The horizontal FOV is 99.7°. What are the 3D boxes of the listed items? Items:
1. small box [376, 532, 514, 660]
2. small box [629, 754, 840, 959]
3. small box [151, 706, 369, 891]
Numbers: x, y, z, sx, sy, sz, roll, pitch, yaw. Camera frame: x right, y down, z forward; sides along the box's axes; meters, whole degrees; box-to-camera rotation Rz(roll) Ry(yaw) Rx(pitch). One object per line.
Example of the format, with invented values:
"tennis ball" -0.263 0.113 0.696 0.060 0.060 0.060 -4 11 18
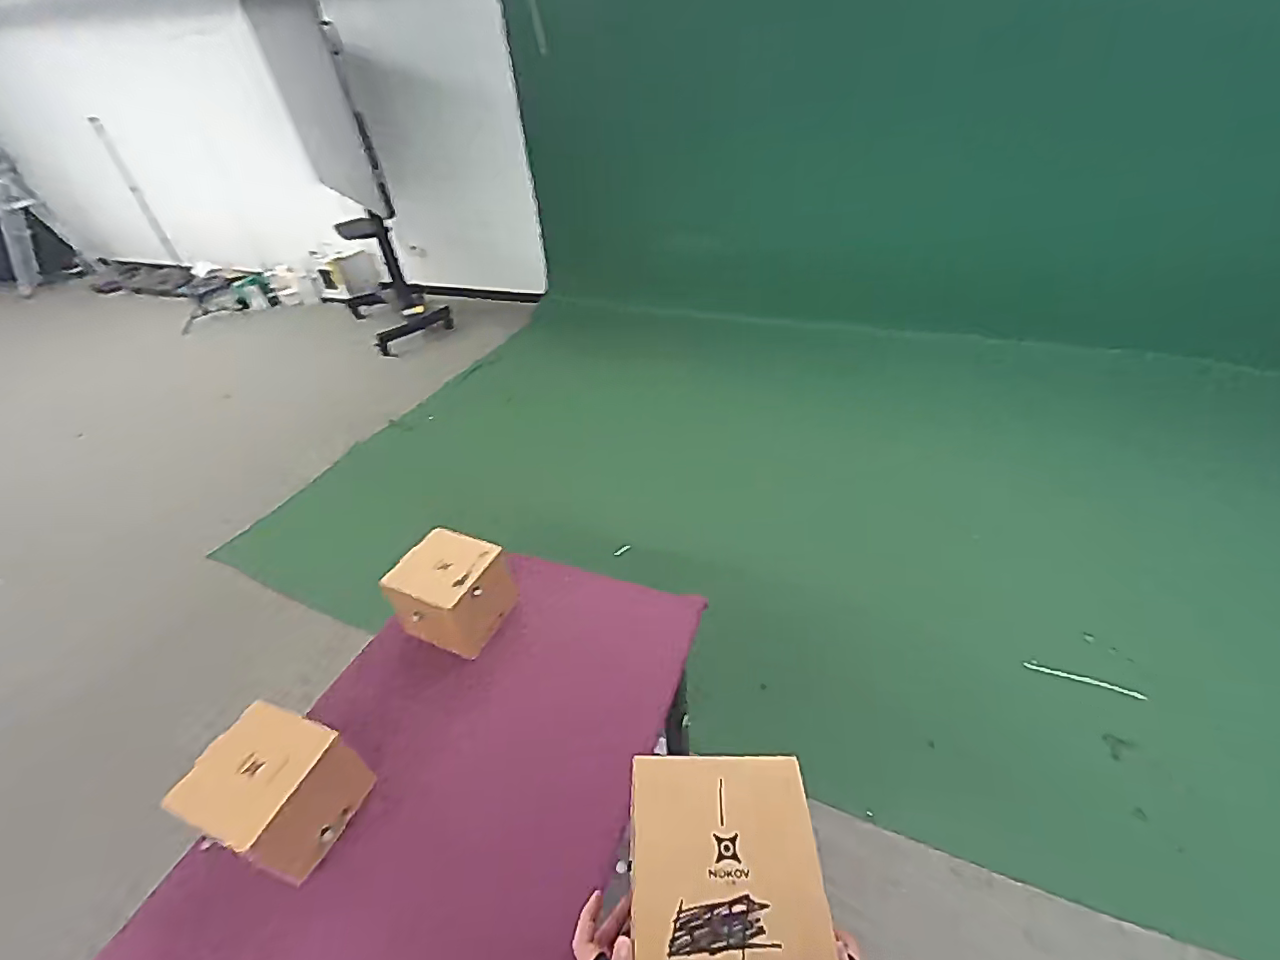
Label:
"small box" -0.387 0.237 1.101 0.179 0.176 0.168 12 43 22
"small box" 0.074 0.386 0.520 0.168 0.176 0.179 1 43 -1
"small box" -0.558 0.481 0.818 0.179 0.176 0.168 11 42 19
